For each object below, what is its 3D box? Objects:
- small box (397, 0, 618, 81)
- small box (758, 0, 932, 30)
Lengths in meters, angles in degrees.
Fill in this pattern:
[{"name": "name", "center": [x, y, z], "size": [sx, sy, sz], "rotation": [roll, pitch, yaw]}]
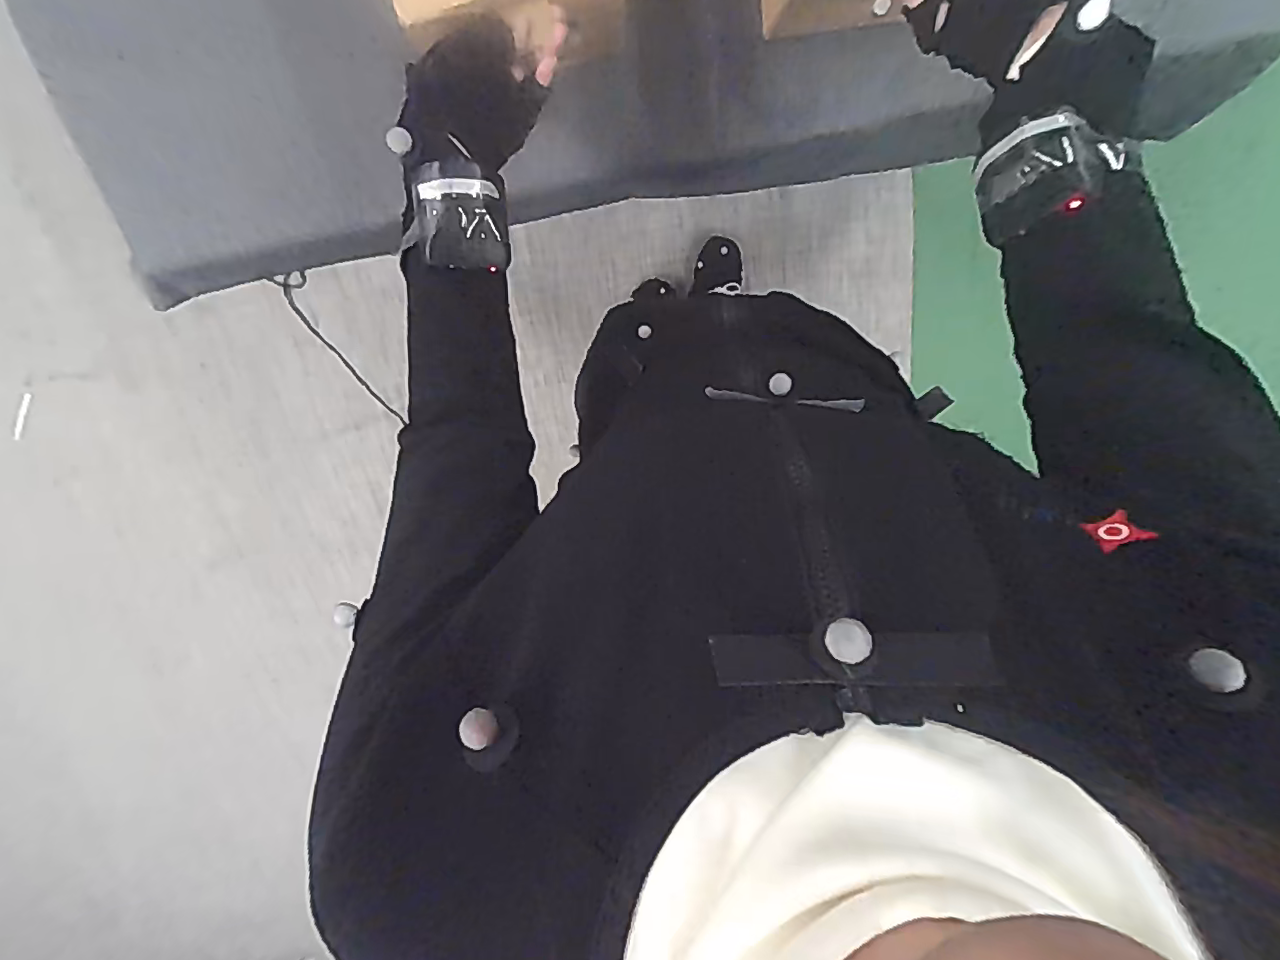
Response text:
[{"name": "small box", "center": [-0.114, -0.449, 0.424], "size": [0.168, 0.176, 0.179], "rotation": [-15, 110, 2]}, {"name": "small box", "center": [0.187, -0.488, 0.419], "size": [0.168, 0.176, 0.179], "rotation": [-9, 111, 0]}]
